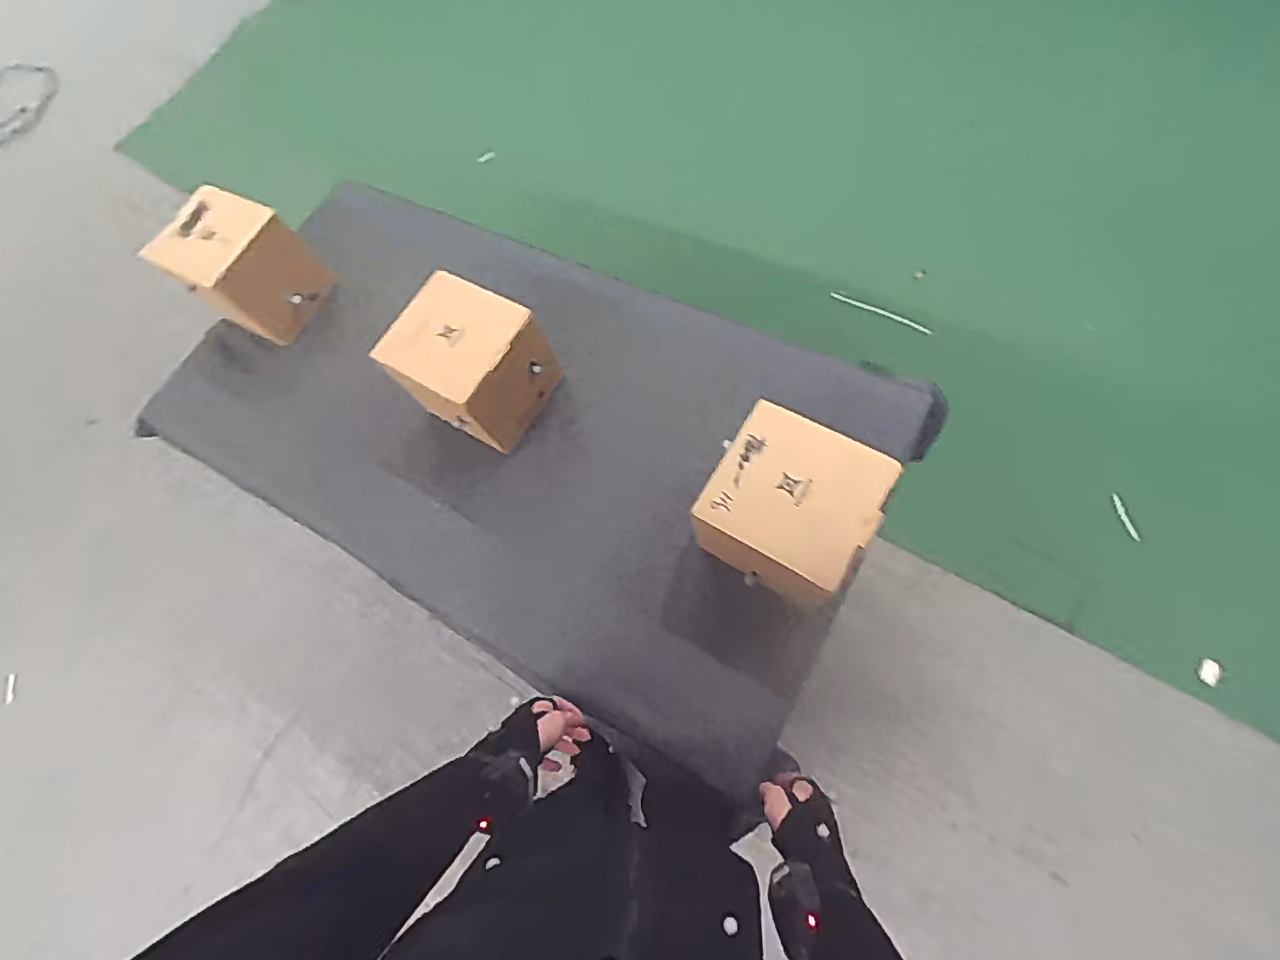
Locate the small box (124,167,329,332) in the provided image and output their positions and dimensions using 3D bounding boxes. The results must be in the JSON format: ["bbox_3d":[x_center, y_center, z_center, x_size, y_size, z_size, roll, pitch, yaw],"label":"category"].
[{"bbox_3d":[-0.685,-0.382,0.917,0.179,0.176,0.168,26,74,13],"label":"small box"}]

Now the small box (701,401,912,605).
[{"bbox_3d":[0.190,0.039,0.667,0.179,0.176,0.168,30,75,16],"label":"small box"}]

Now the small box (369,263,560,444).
[{"bbox_3d":[-0.242,-0.175,0.797,0.179,0.176,0.168,27,73,16],"label":"small box"}]
